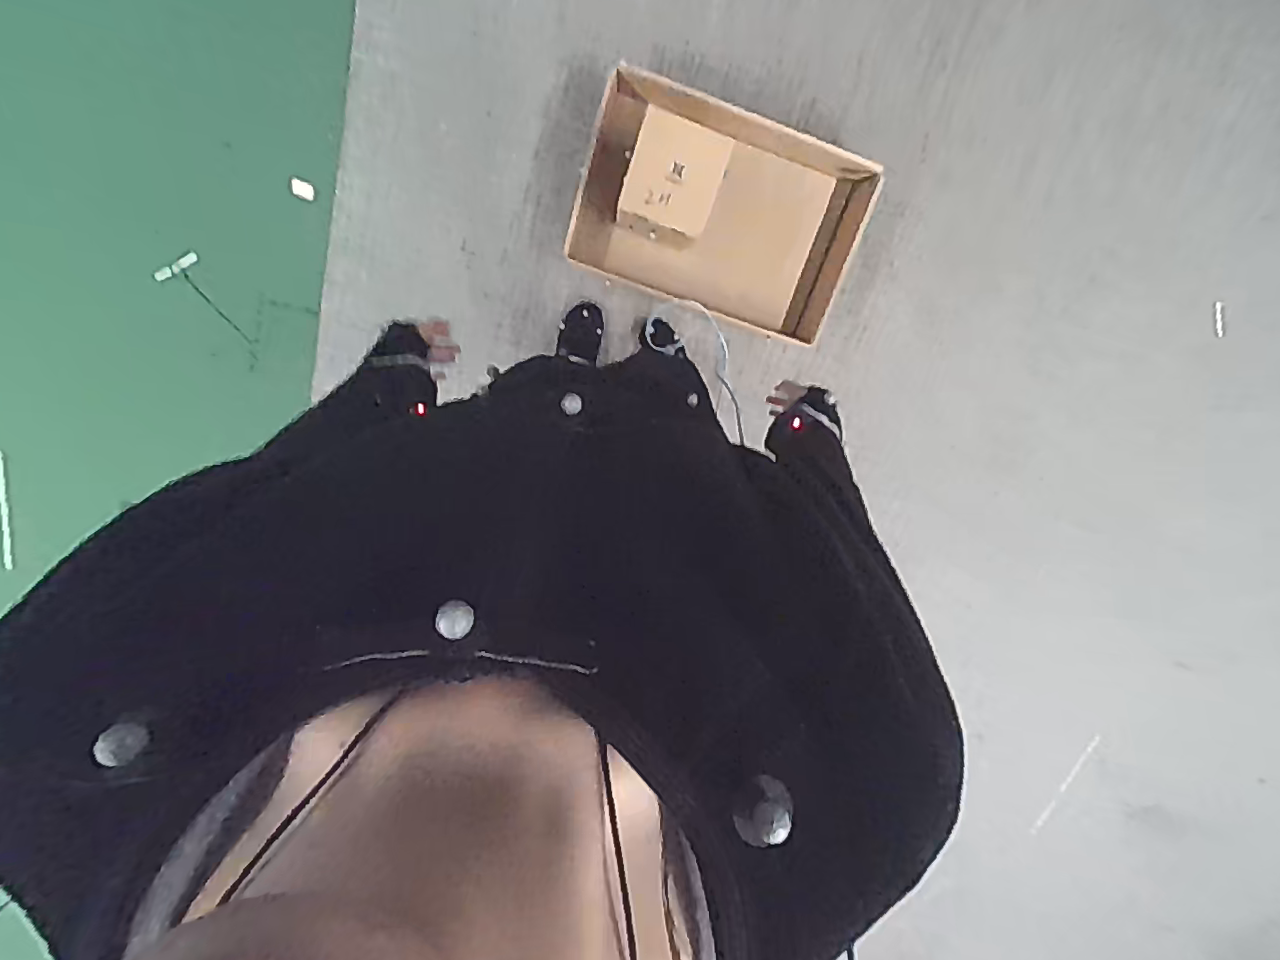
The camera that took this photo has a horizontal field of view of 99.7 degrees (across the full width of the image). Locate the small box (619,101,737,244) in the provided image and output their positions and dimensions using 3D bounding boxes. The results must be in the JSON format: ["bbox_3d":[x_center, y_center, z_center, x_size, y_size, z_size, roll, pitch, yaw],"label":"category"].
[{"bbox_3d":[0.064,-0.575,1.039,0.168,0.176,0.179,20,108,-8],"label":"small box"}]
